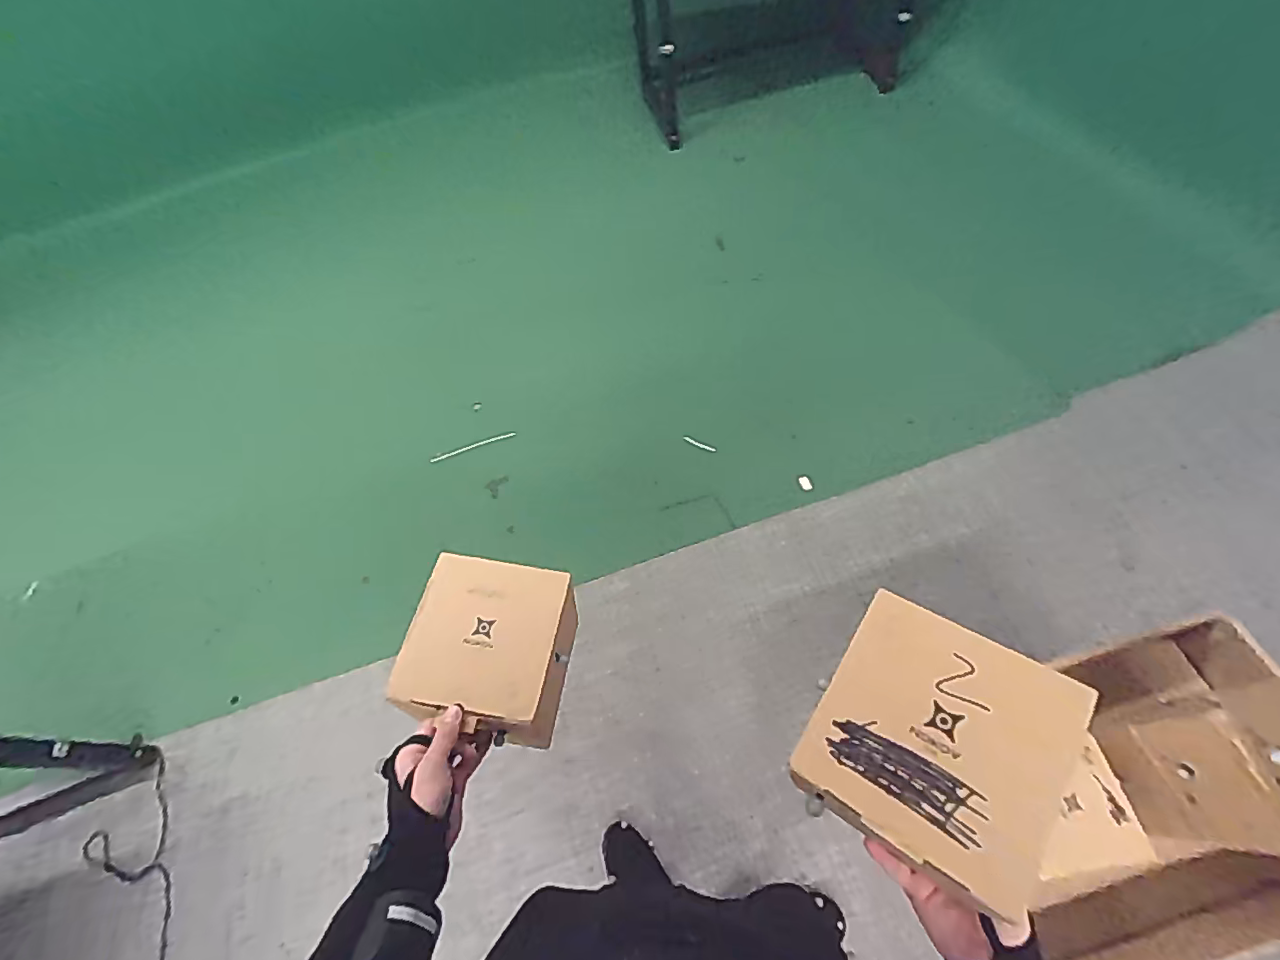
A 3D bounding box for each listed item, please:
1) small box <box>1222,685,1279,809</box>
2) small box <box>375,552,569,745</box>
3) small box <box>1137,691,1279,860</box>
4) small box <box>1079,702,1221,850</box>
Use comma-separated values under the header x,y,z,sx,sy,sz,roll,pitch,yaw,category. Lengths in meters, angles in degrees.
x,y,z,sx,sy,sz,roll,pitch,yaw,category
0.825,0.298,0.584,0.179,0.176,0.168,-11,59,4,small box
-0.189,0.216,0.676,0.168,0.176,0.179,9,55,3,small box
0.845,0.384,0.723,0.179,0.176,0.168,-19,60,-1,small box
0.870,0.463,0.862,0.179,0.176,0.168,-18,59,-1,small box
